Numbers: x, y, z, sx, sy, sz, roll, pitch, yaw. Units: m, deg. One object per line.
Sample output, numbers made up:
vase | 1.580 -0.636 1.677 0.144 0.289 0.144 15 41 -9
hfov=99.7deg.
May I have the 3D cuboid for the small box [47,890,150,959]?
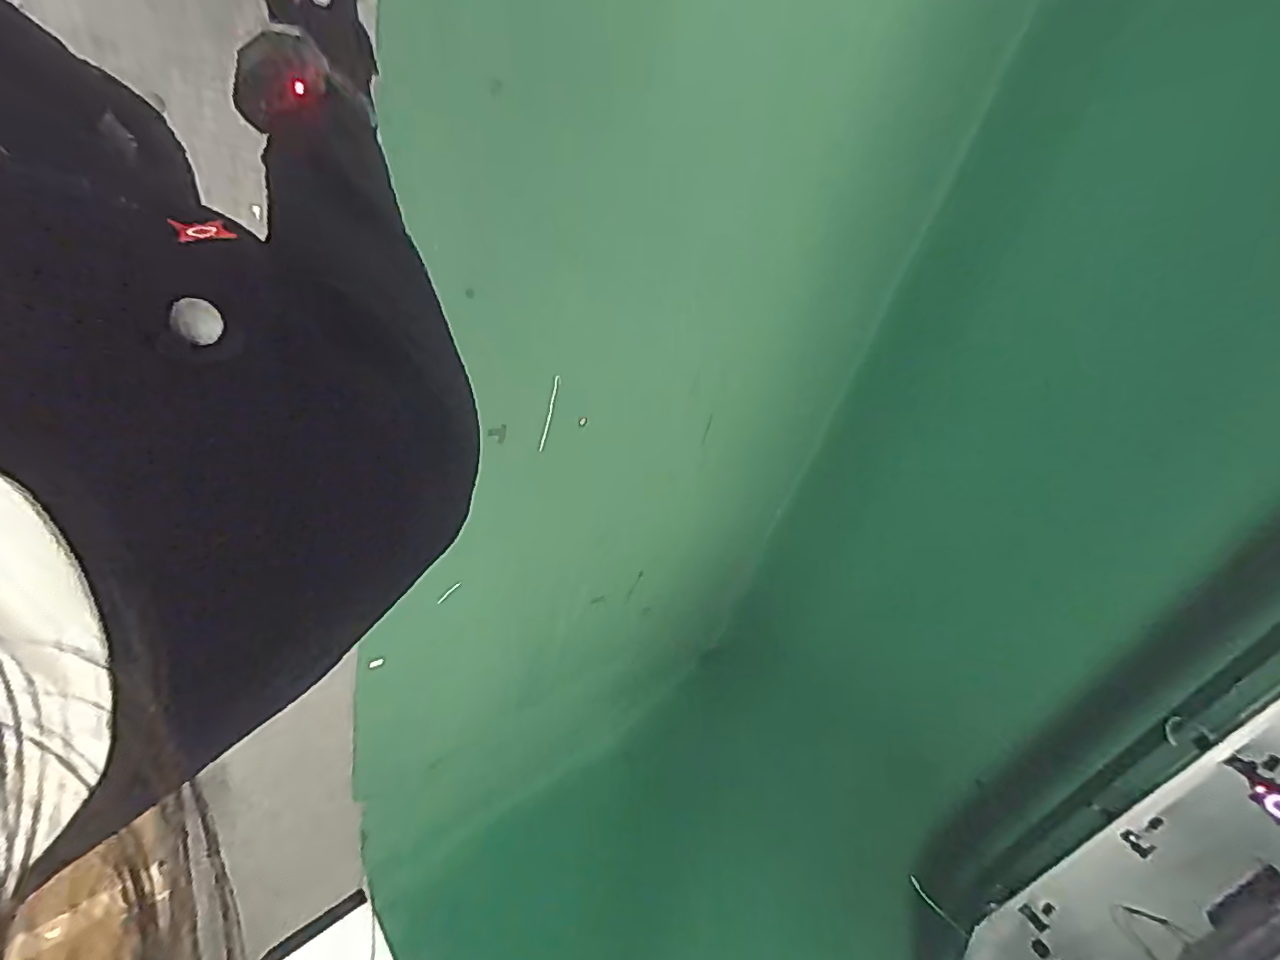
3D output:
small box | -1.442 1.263 1.444 0.179 0.176 0.168 -15 128 -42
